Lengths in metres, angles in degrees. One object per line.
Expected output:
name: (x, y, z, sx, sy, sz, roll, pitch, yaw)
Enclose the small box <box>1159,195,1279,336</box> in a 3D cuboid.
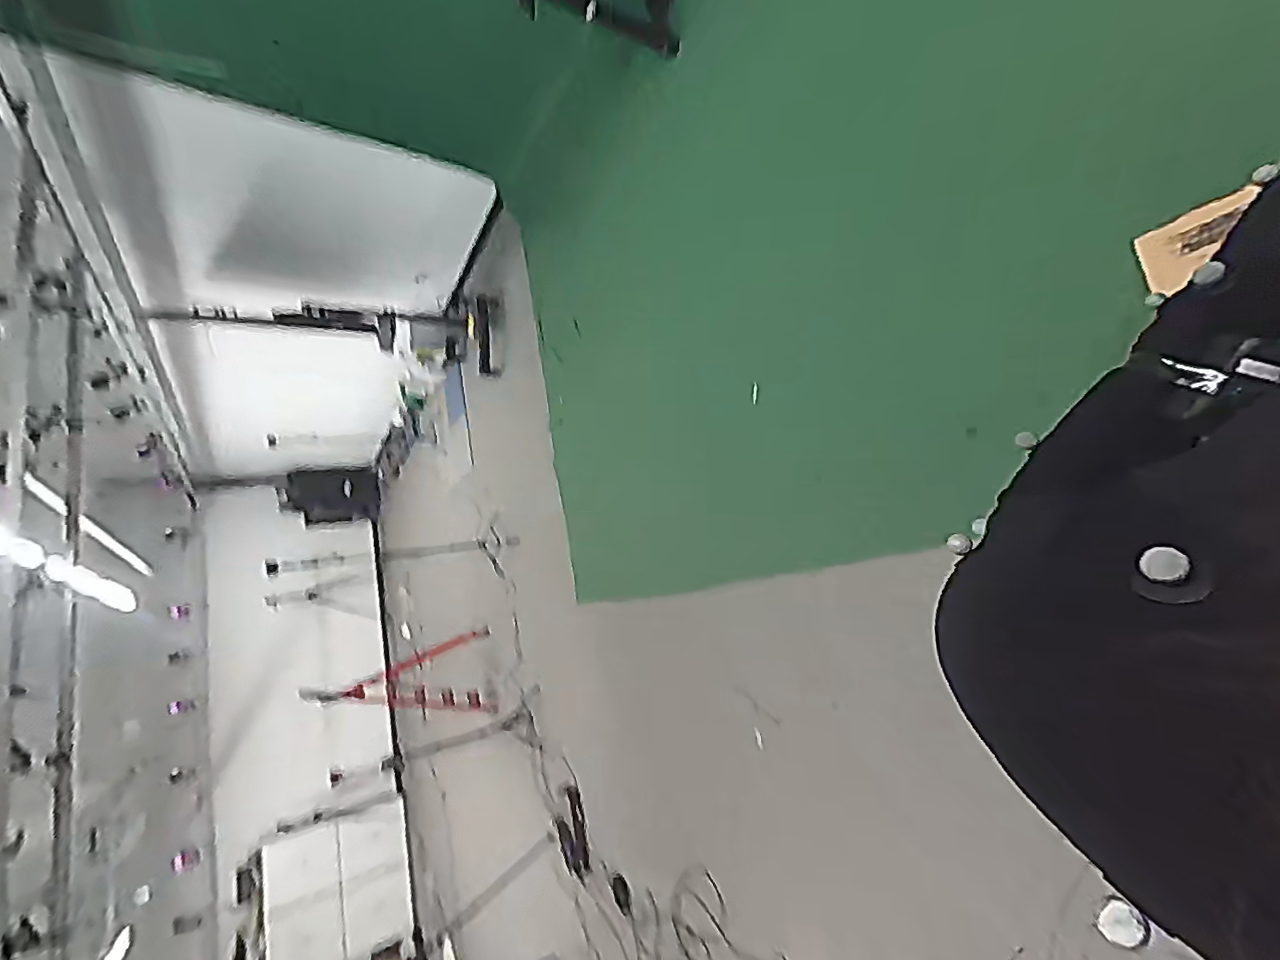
small box: (1.099, -0.373, 0.979, 0.168, 0.176, 0.179, -26, 71, 54)
